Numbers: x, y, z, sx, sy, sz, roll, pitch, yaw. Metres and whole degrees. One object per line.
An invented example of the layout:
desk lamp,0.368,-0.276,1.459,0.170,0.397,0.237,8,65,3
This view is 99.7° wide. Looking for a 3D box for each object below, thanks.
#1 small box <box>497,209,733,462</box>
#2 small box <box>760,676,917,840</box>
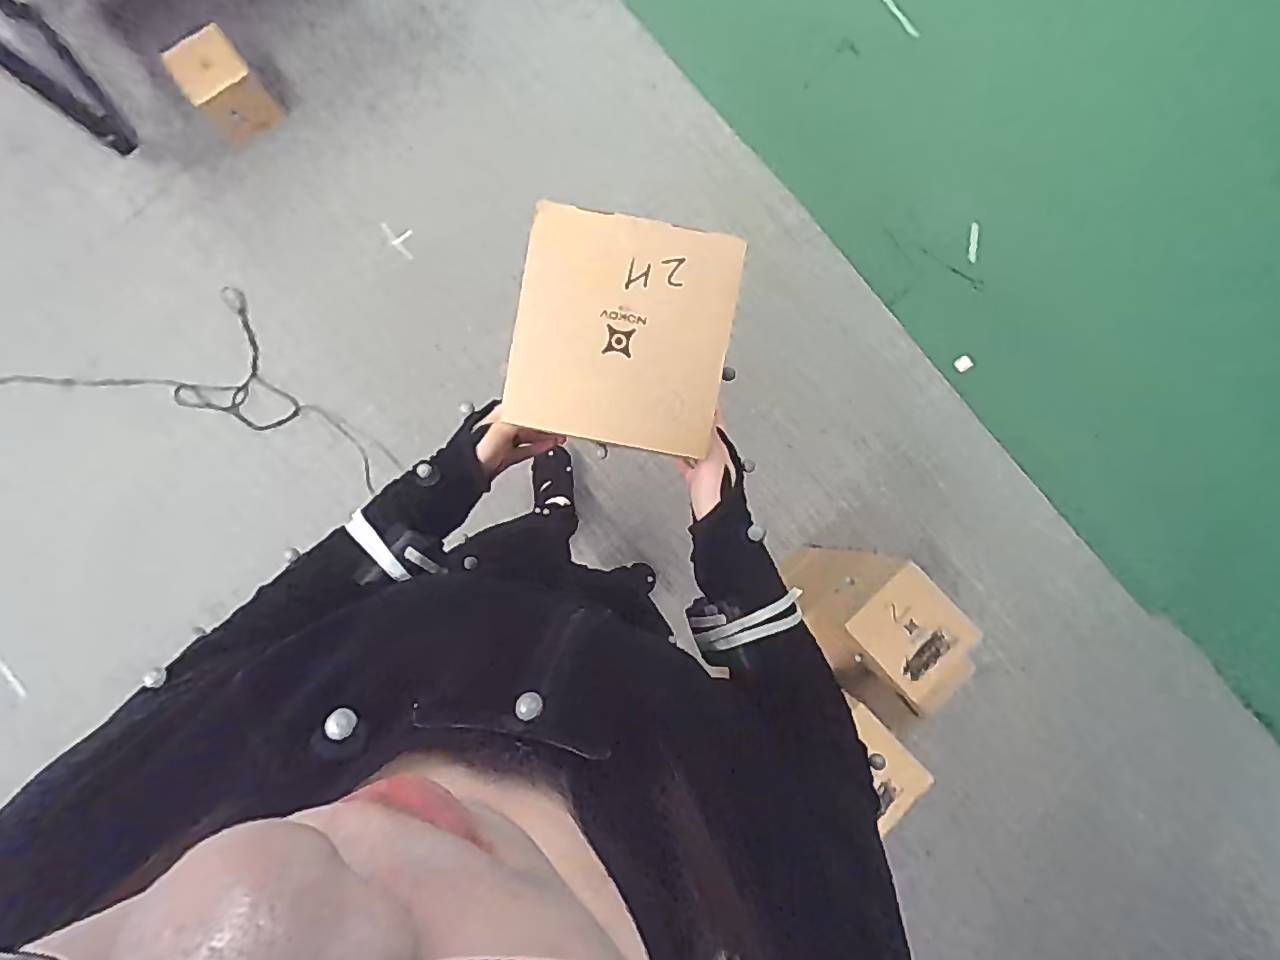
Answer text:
small box,-0.021,-0.120,0.511,0.168,0.176,0.179,11,93,-1
small box,0.351,0.492,0.988,0.168,0.176,0.179,-42,89,-6
